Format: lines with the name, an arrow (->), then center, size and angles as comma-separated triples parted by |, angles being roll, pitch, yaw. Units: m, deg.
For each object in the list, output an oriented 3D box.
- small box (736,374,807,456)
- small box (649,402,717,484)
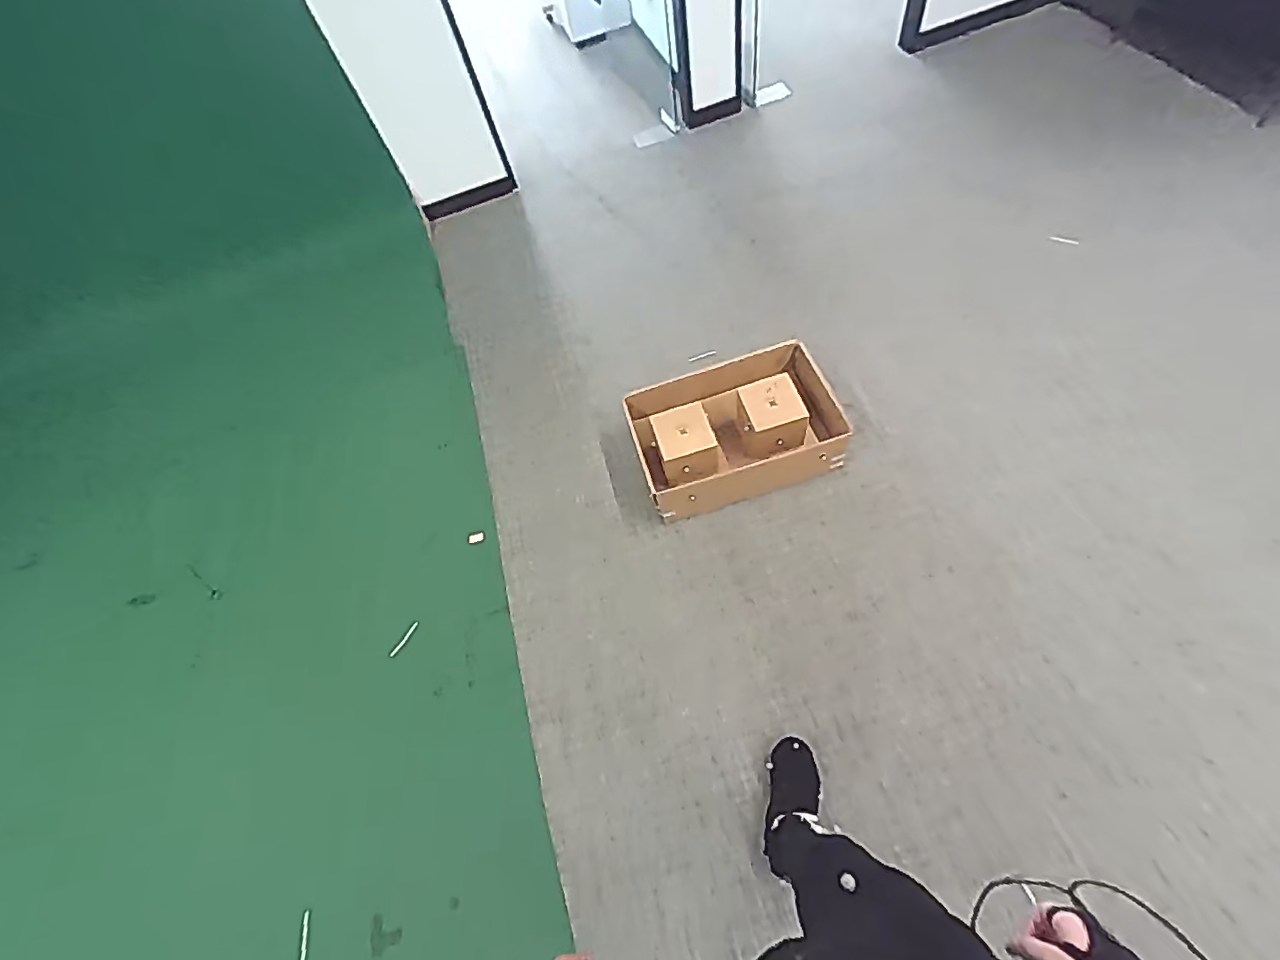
small box -> 0.407, -0.193, 1.687 | 0.168, 0.176, 0.179 | -16, 59, 1
small box -> 0.138, -0.107, 1.687 | 0.168, 0.176, 0.179 | -17, 58, 0
